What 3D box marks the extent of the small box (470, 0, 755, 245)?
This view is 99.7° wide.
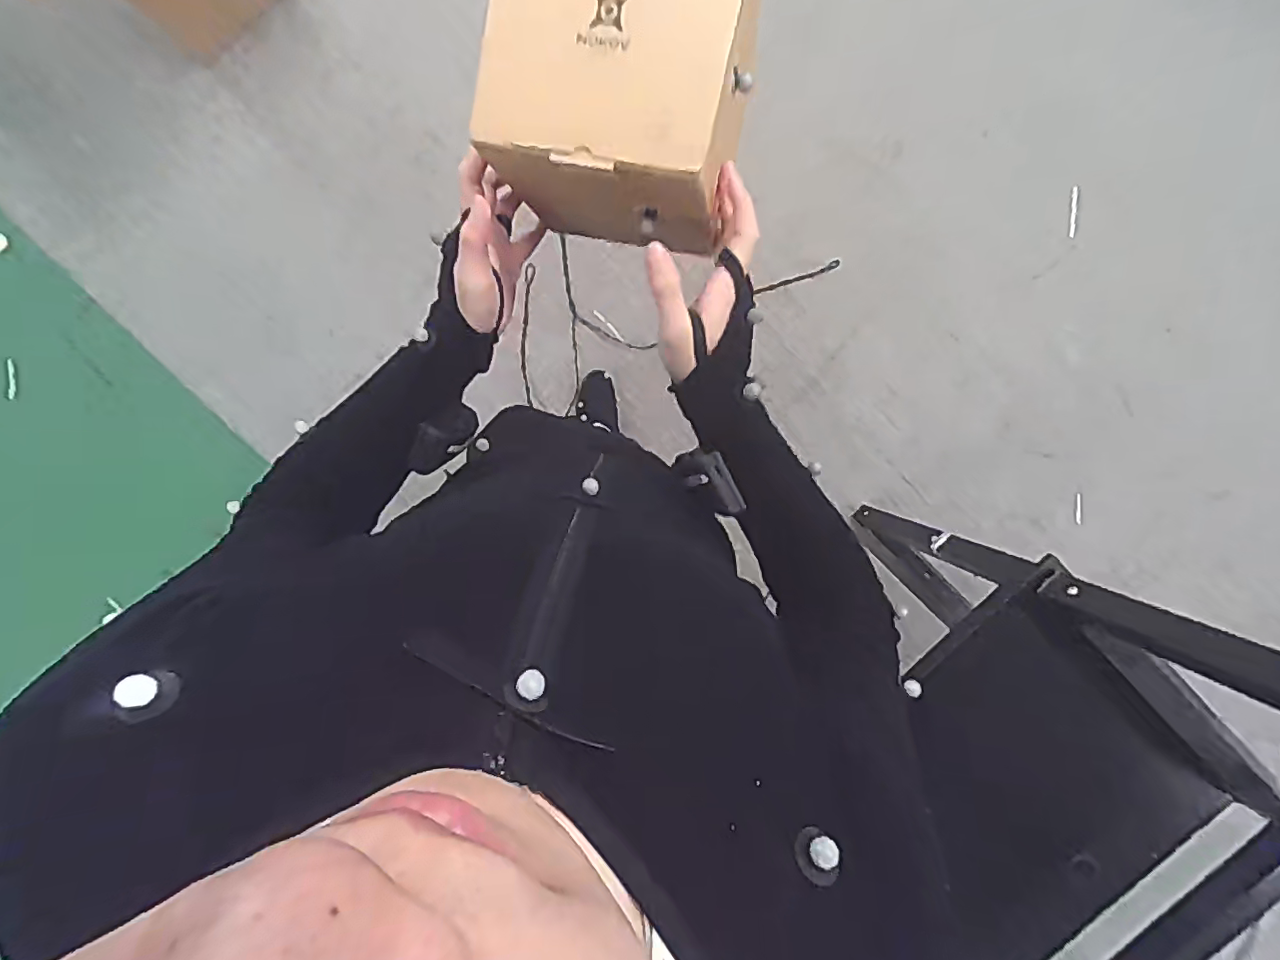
[{"bbox_3d":[-0.007,-0.304,0.422,0.168,0.176,0.179,13,97,9],"label":"small box"}]
